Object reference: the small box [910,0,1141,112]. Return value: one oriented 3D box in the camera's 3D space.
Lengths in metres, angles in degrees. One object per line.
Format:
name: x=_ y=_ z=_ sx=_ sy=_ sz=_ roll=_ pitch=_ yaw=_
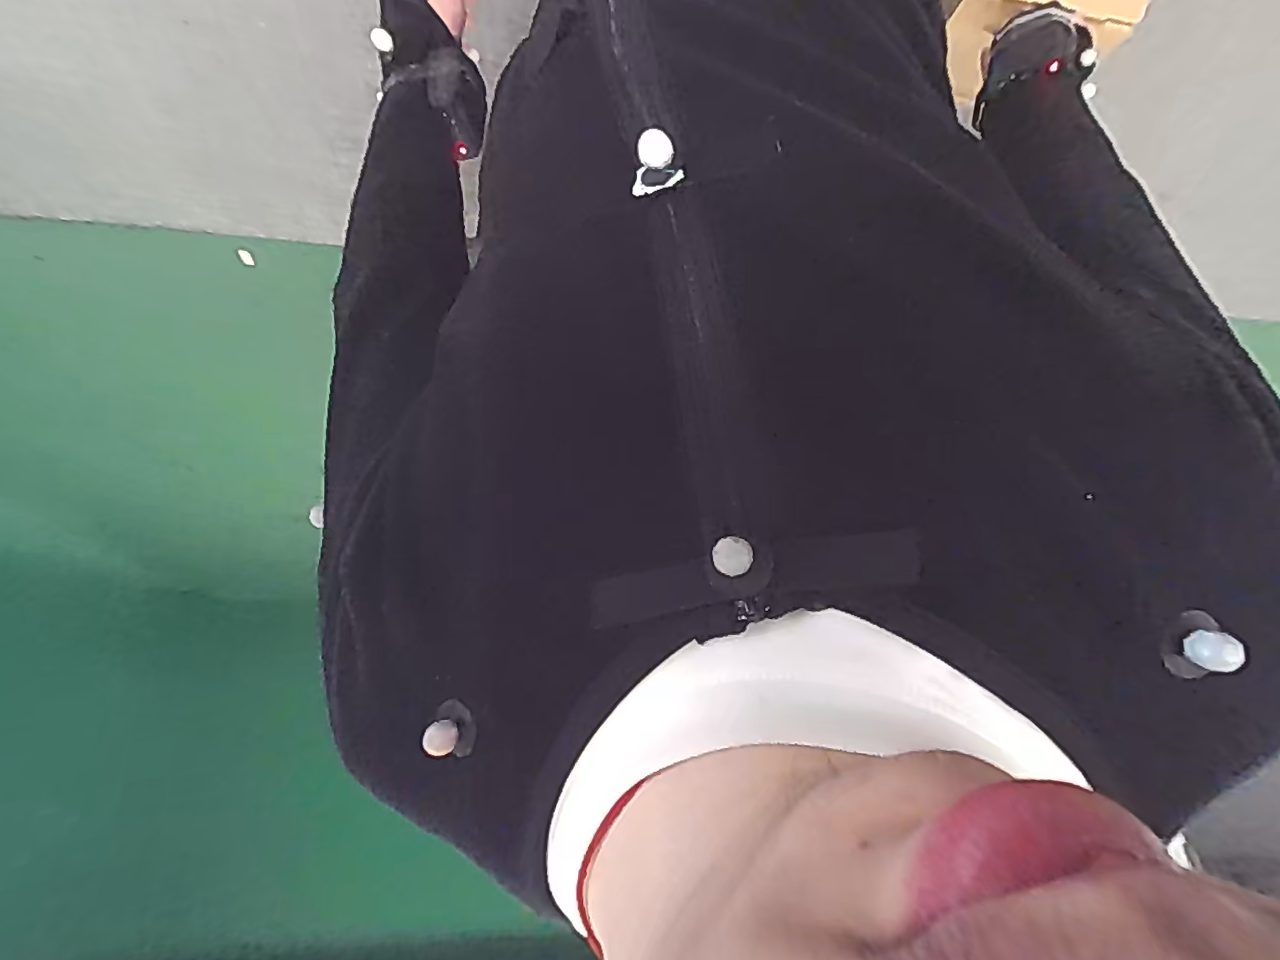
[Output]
small box: x=0.426 y=-0.549 z=0.591 sx=0.168 sy=0.179 sz=0.176 roll=17 pitch=-172 yaw=1
